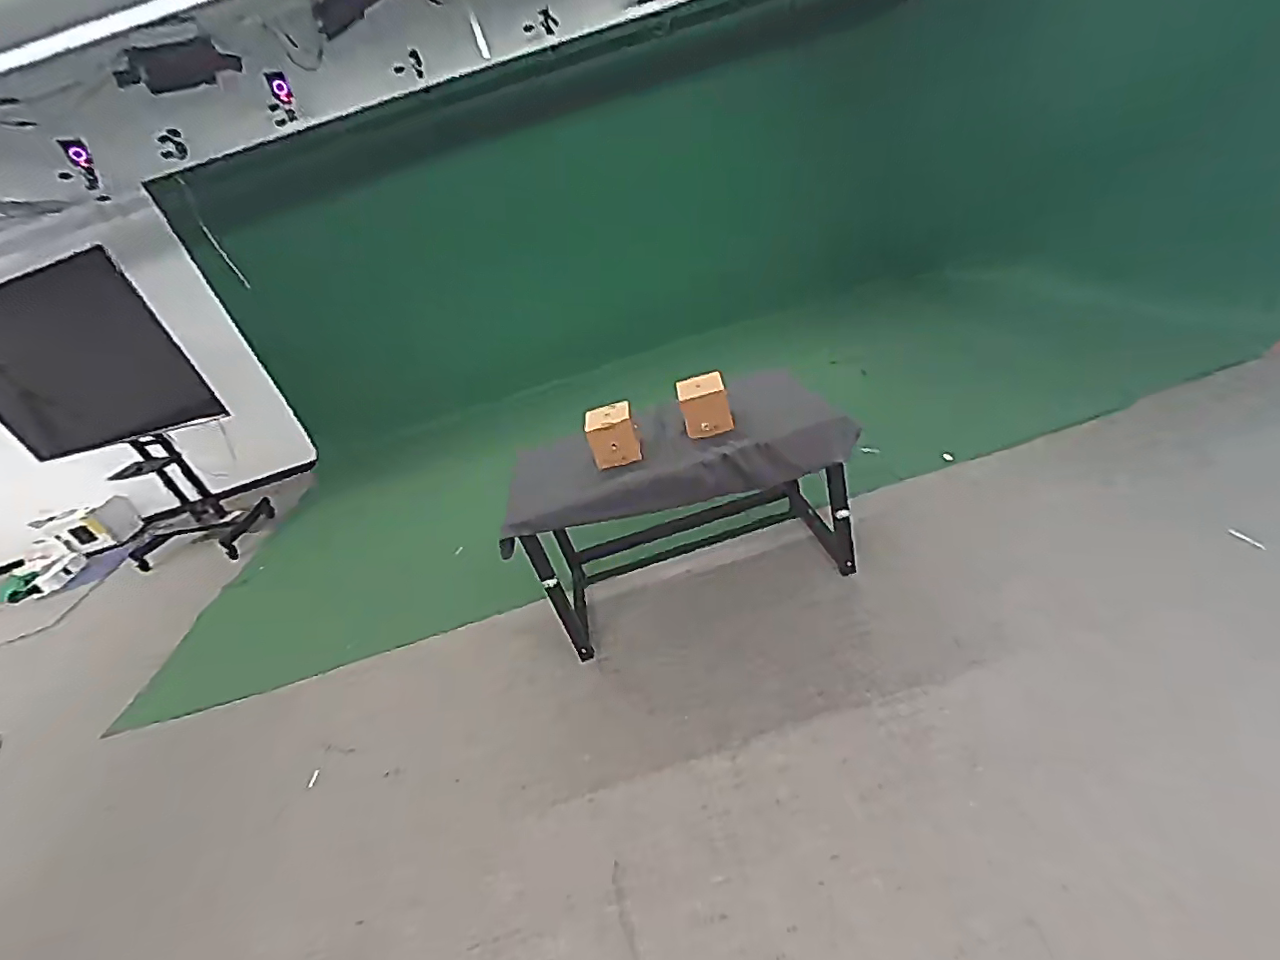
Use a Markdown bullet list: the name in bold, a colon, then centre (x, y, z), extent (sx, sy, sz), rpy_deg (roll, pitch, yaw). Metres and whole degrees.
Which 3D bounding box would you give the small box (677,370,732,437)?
- **small box**: centre (0.235, -0.283, 1.998), extent (0.168, 0.176, 0.179), rpy_deg (-15, 29, 11)

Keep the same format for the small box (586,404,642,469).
- **small box**: centre (-0.095, -0.156, 2.012), extent (0.168, 0.176, 0.179), rpy_deg (-18, 29, 4)
